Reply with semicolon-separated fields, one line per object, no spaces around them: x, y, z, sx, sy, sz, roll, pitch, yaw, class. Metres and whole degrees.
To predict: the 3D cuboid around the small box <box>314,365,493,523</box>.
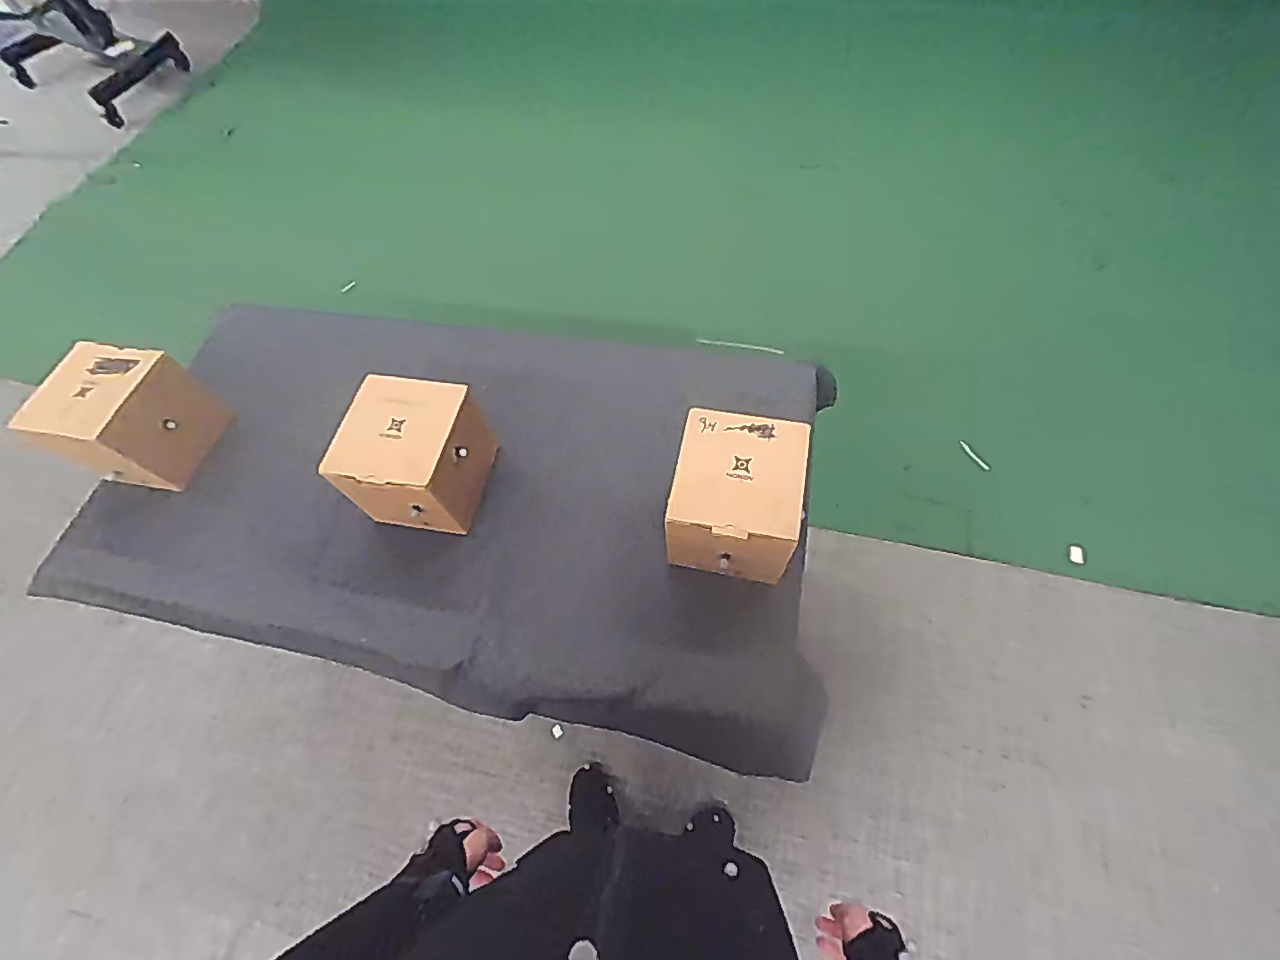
-0.345;-0.049;0.832;0.168;0.176;0.179;8;62;7;small box

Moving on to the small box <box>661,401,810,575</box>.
0.131;0.018;0.758;0.168;0.176;0.179;10;64;10;small box

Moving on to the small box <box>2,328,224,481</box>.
-0.853;-0.122;0.903;0.168;0.176;0.179;9;63;8;small box
